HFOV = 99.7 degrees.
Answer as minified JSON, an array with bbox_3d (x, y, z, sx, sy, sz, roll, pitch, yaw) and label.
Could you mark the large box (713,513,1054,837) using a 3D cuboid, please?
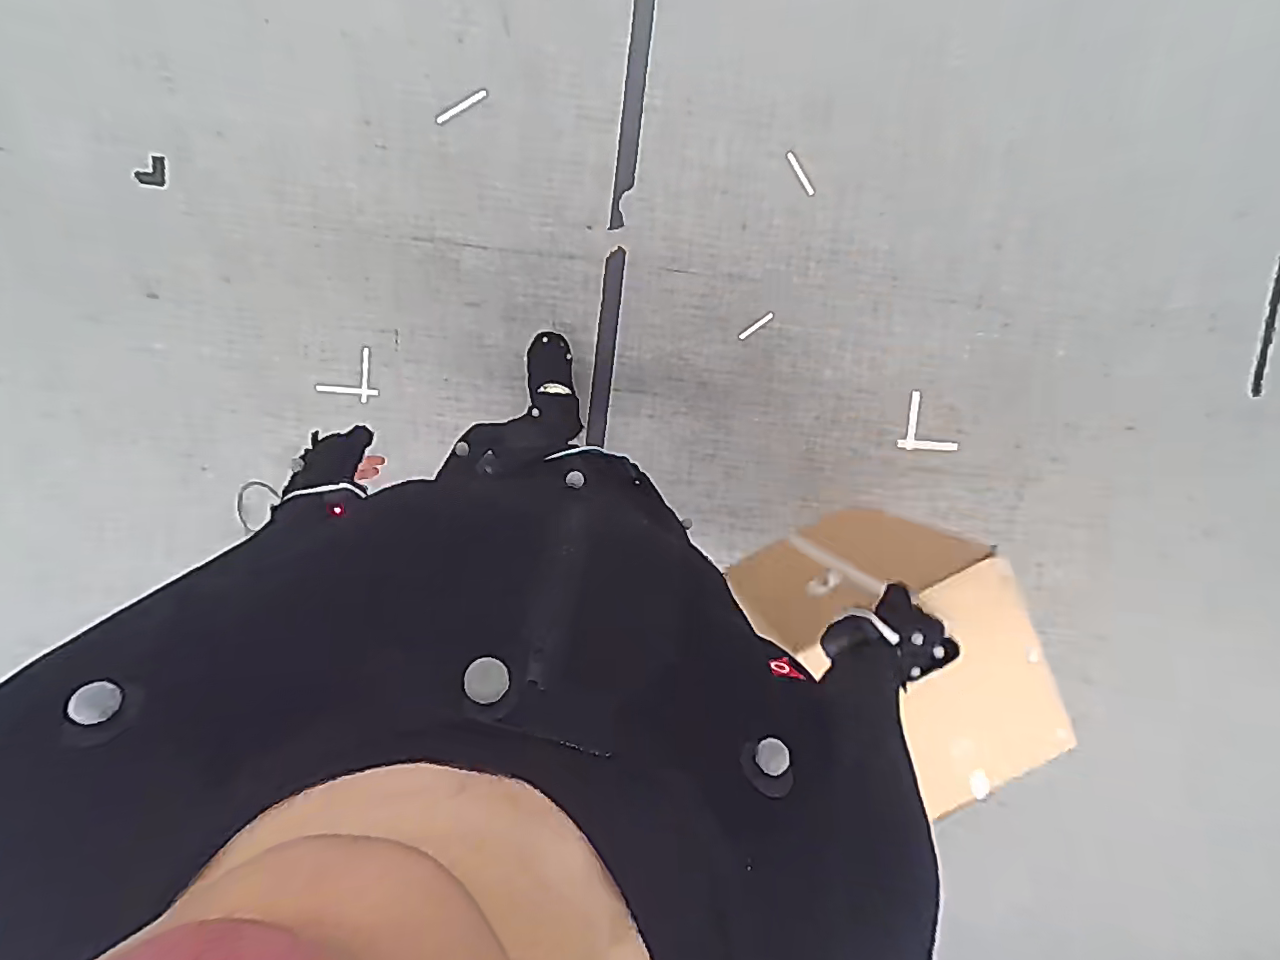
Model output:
[{"bbox_3d":[0.373,0.284,0.932,0.320,0.408,0.320,-28,98,-5],"label":"large box"}]
